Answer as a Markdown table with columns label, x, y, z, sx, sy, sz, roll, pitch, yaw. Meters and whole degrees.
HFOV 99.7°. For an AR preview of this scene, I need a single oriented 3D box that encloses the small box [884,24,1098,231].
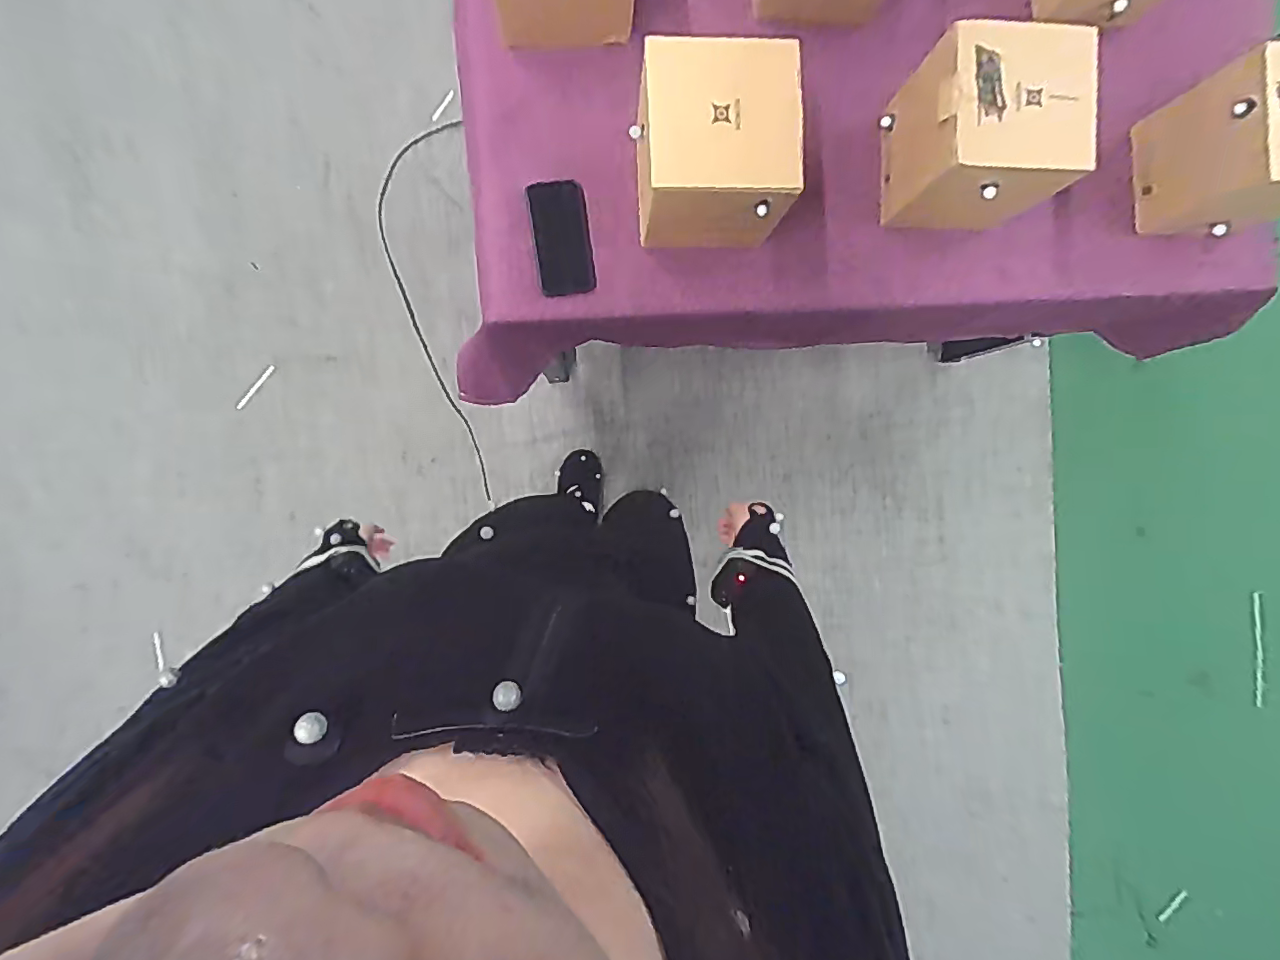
| label | x | y | z | sx | sy | sz | roll | pitch | yaw |
| --- | --- | --- | --- | --- | --- | --- | --- | --- | --- |
| small box | 0.442 | -0.443 | 0.707 | 0.179 | 0.176 | 0.168 | 0 | 93 | -5 |

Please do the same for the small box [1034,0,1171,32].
| label | x | y | z | sx | sy | sz | roll | pitch | yaw |
| --- | --- | --- | --- | --- | --- | --- | --- | --- | --- |
| small box | 0.654 | -0.741 | 0.709 | 0.168 | 0.176 | 0.179 | -6 | 93 | -4 |

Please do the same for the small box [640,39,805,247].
| label | x | y | z | sx | sy | sz | roll | pitch | yaw |
| --- | --- | --- | --- | --- | --- | --- | --- | --- | --- |
| small box | 0.092 | -0.407 | 0.682 | 0.179 | 0.176 | 0.168 | -2 | 92 | -6 |

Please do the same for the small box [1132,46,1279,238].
| label | x | y | z | sx | sy | sz | roll | pitch | yaw |
| --- | --- | --- | --- | --- | --- | --- | --- | --- | --- |
| small box | 0.832 | -0.445 | 0.736 | 0.179 | 0.176 | 0.168 | -5 | 92 | -4 |
